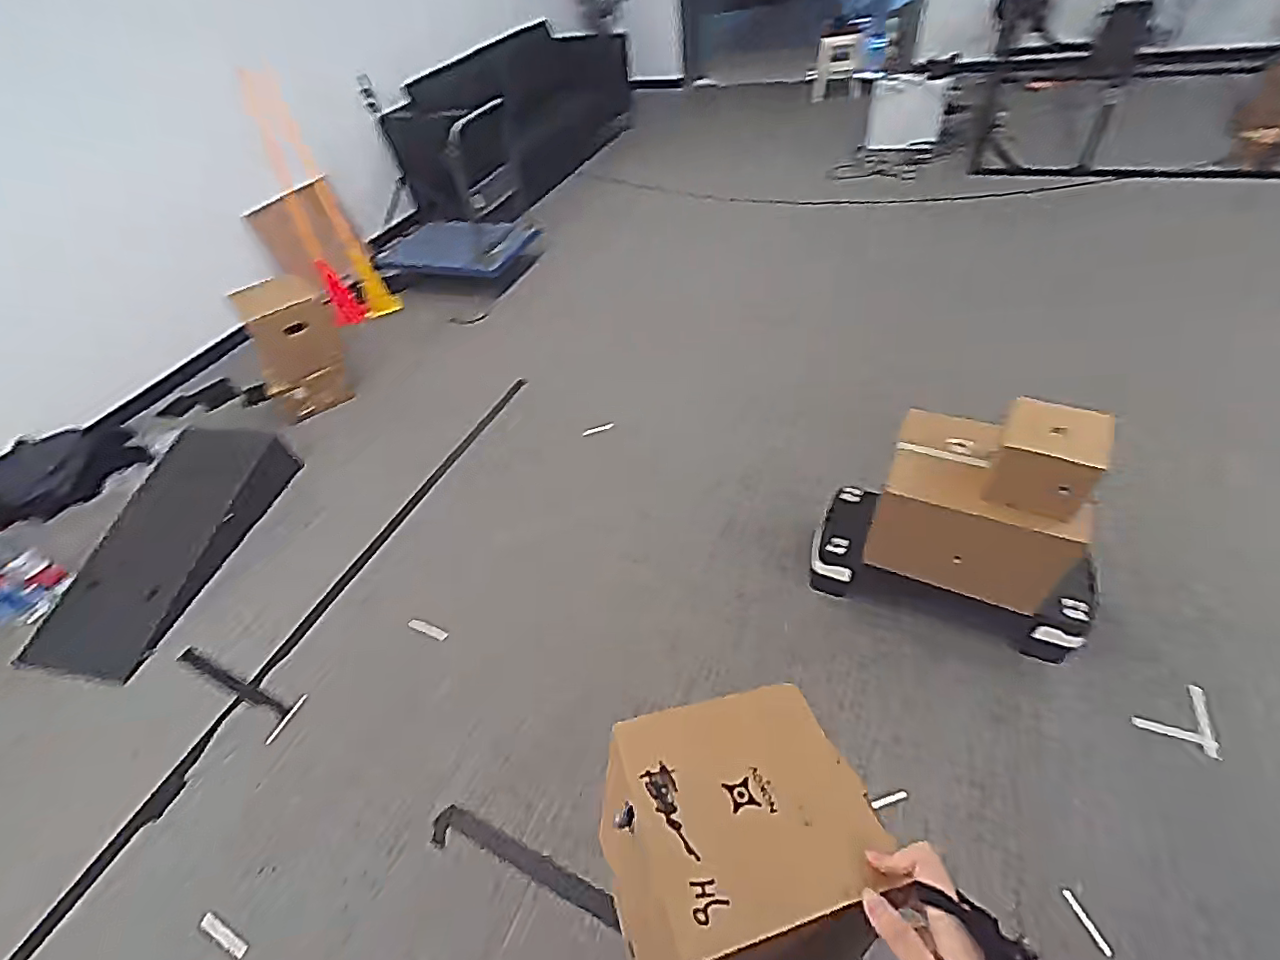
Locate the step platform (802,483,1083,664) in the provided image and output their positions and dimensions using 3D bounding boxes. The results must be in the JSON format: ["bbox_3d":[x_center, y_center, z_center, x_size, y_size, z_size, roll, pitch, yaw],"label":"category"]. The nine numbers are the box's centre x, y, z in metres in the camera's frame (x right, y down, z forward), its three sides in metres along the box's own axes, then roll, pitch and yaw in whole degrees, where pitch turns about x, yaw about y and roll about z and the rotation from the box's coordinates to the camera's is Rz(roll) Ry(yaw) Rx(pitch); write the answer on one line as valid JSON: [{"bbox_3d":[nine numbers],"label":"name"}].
[{"bbox_3d":[0.830,0.238,1.544,0.684,0.204,0.286,18,53,26],"label":"step platform"}]

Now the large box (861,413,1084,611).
[{"bbox_3d":[0.820,0.075,1.369,0.408,0.320,0.320,16,52,24],"label":"large box"}]

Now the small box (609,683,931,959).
[{"bbox_3d":[0.082,0.298,0.438,0.179,0.176,0.168,-3,31,-18],"label":"small box"}]

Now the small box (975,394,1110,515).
[{"bbox_3d":[0.844,-0.050,1.143,0.179,0.176,0.168,19,55,26],"label":"small box"}]
